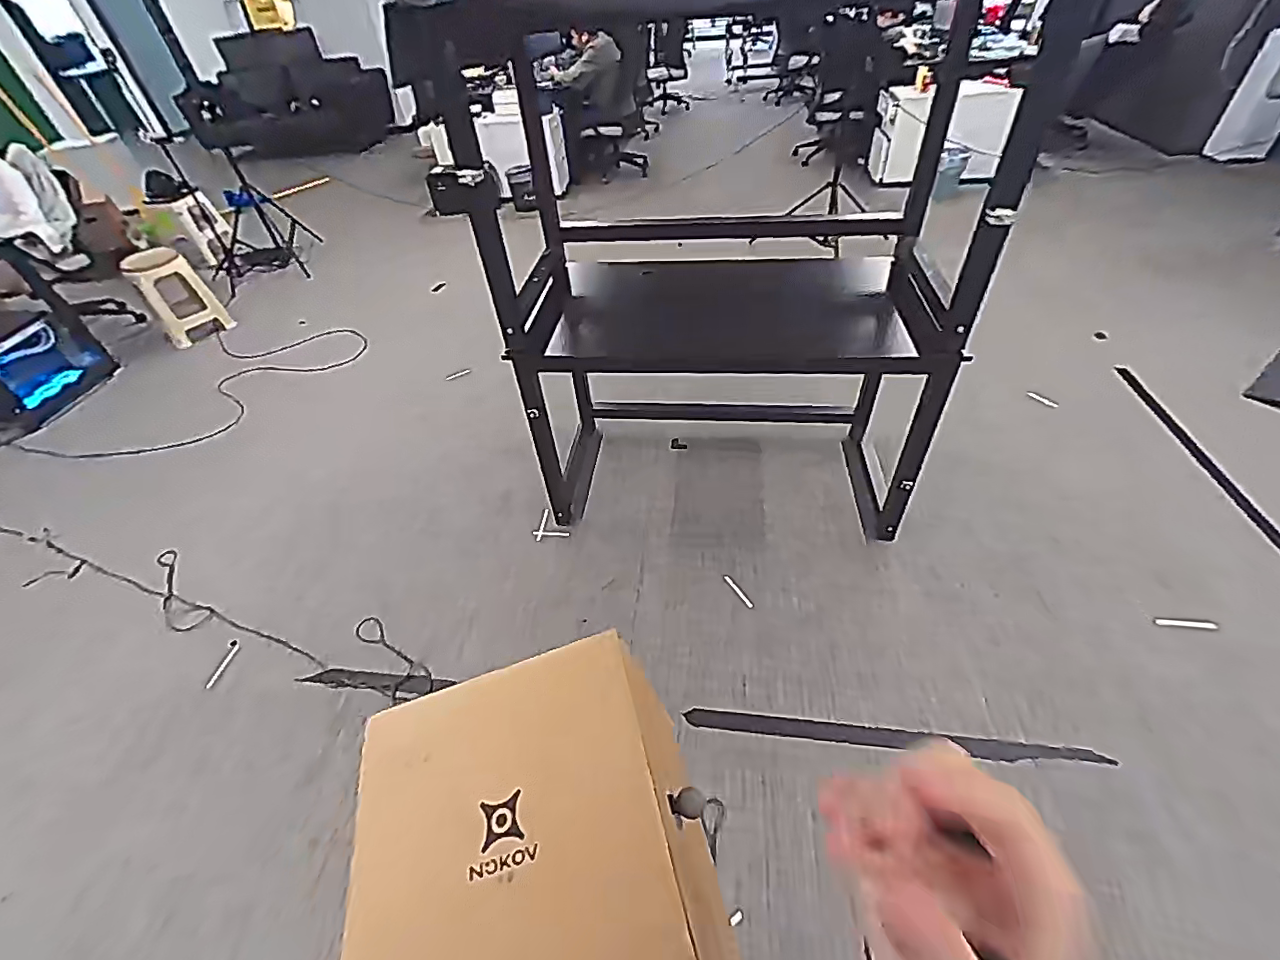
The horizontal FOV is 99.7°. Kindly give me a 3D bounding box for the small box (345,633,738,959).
[{"bbox_3d":[-0.049,0.230,0.333,0.168,0.176,0.179,-20,47,0],"label":"small box"}]
